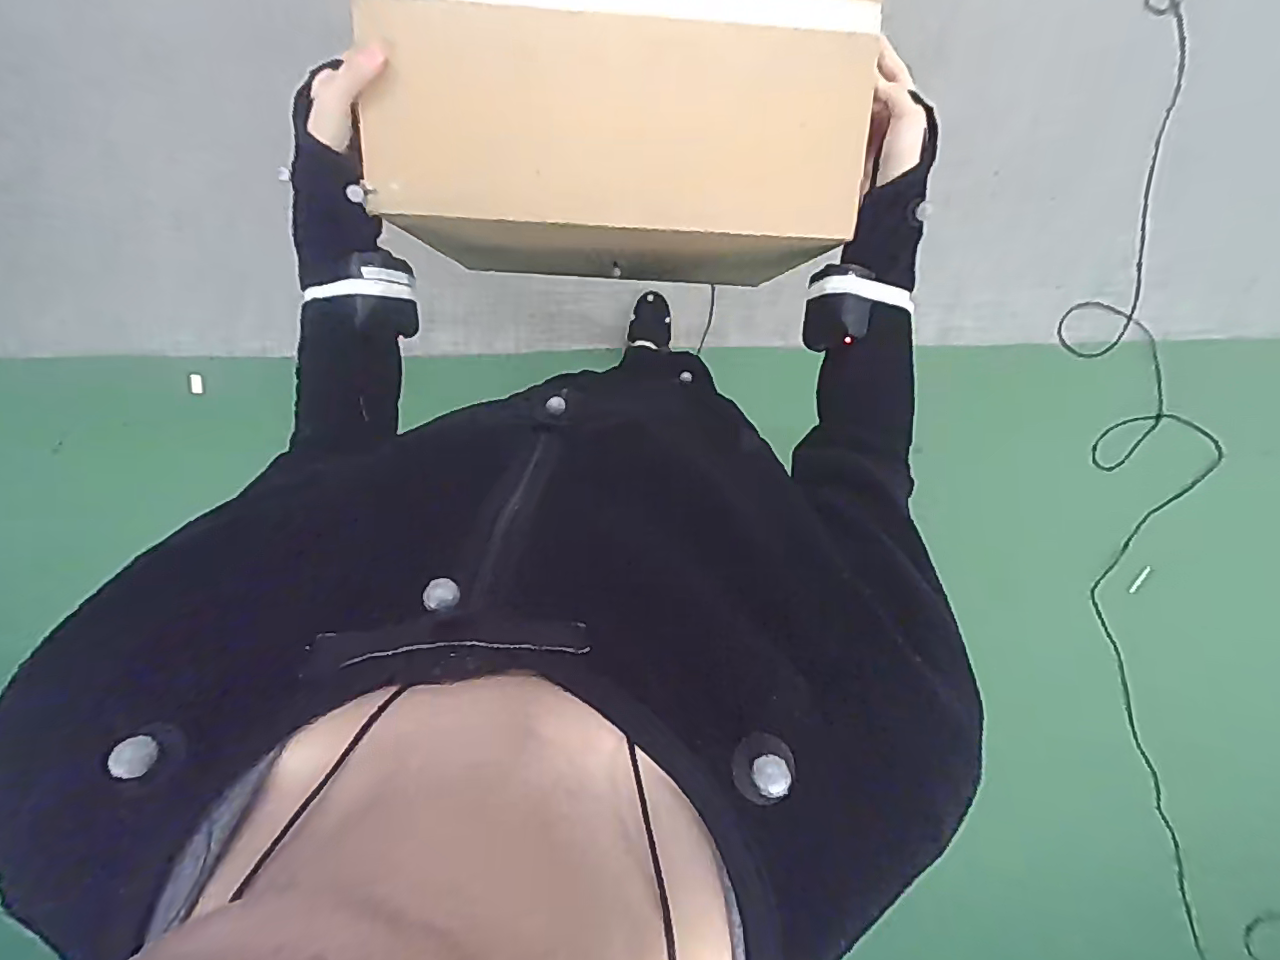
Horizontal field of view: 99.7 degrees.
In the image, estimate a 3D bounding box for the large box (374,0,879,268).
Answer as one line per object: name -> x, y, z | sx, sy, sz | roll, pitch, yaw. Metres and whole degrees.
large box -> -0.012, -0.409, 0.569 | 0.408, 0.320, 0.320 | 2, 103, -3
